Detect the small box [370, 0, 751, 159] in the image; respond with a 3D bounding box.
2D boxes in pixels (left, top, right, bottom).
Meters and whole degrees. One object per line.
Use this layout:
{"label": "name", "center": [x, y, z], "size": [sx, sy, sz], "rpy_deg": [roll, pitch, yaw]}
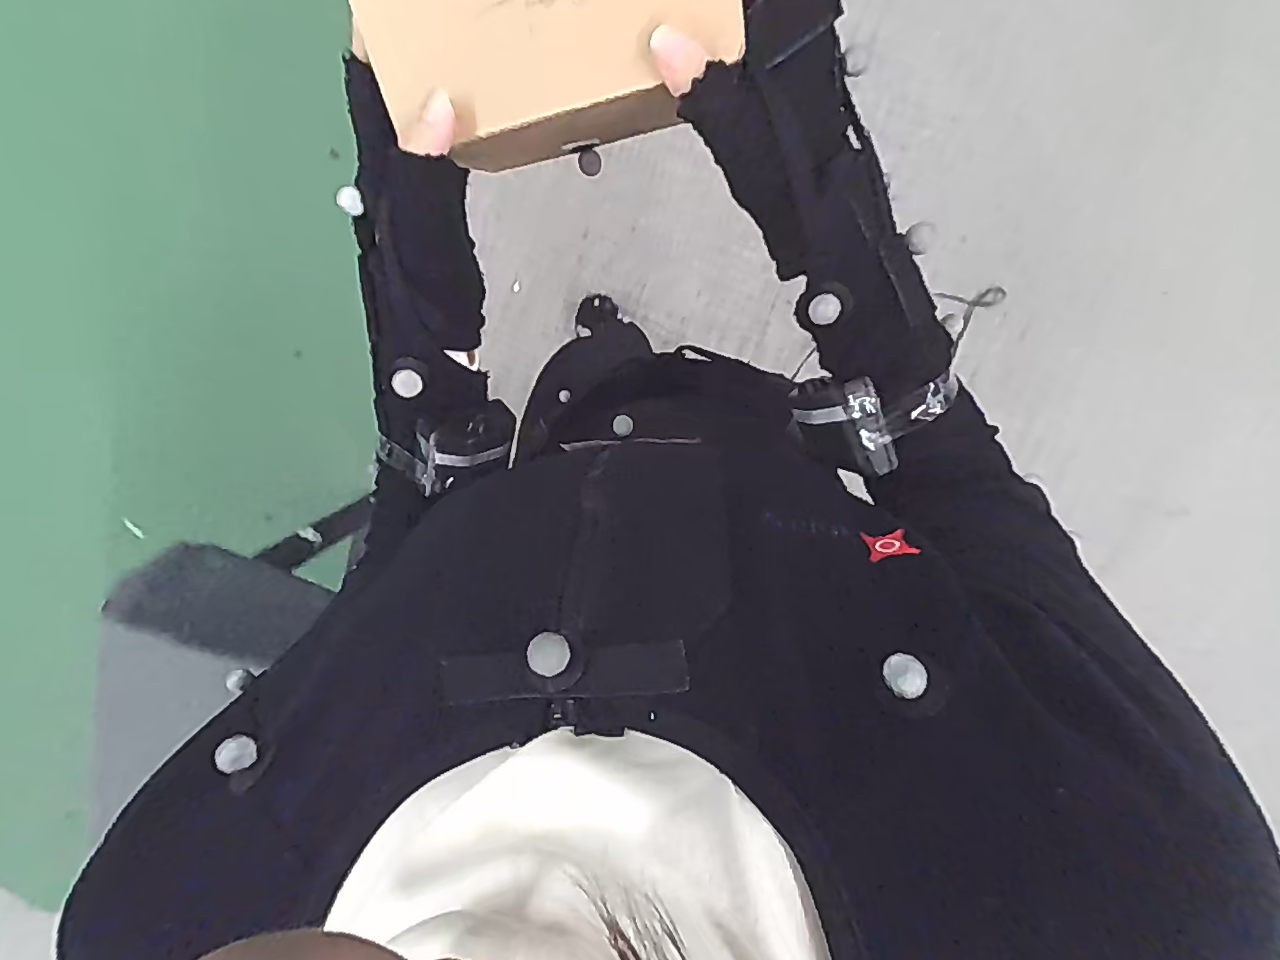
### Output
{"label": "small box", "center": [-0.042, -0.290, 0.286], "size": [0.168, 0.176, 0.179], "rpy_deg": [-9, 117, 8]}
